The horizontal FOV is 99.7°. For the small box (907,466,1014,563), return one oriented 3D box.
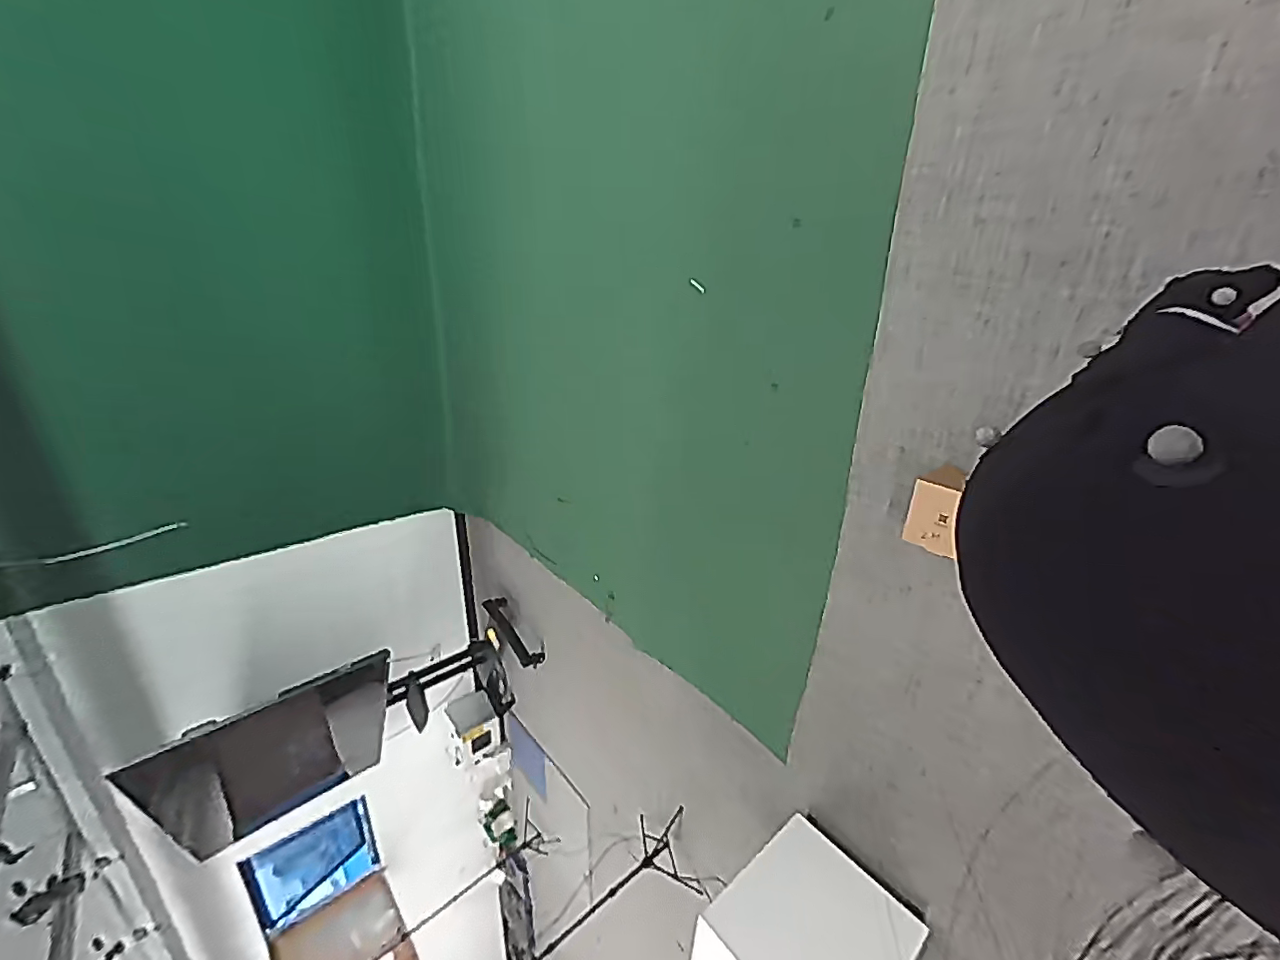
[{"bbox_3d":[0.808,0.078,1.361,0.168,0.176,0.179,26,122,45],"label":"small box"}]
